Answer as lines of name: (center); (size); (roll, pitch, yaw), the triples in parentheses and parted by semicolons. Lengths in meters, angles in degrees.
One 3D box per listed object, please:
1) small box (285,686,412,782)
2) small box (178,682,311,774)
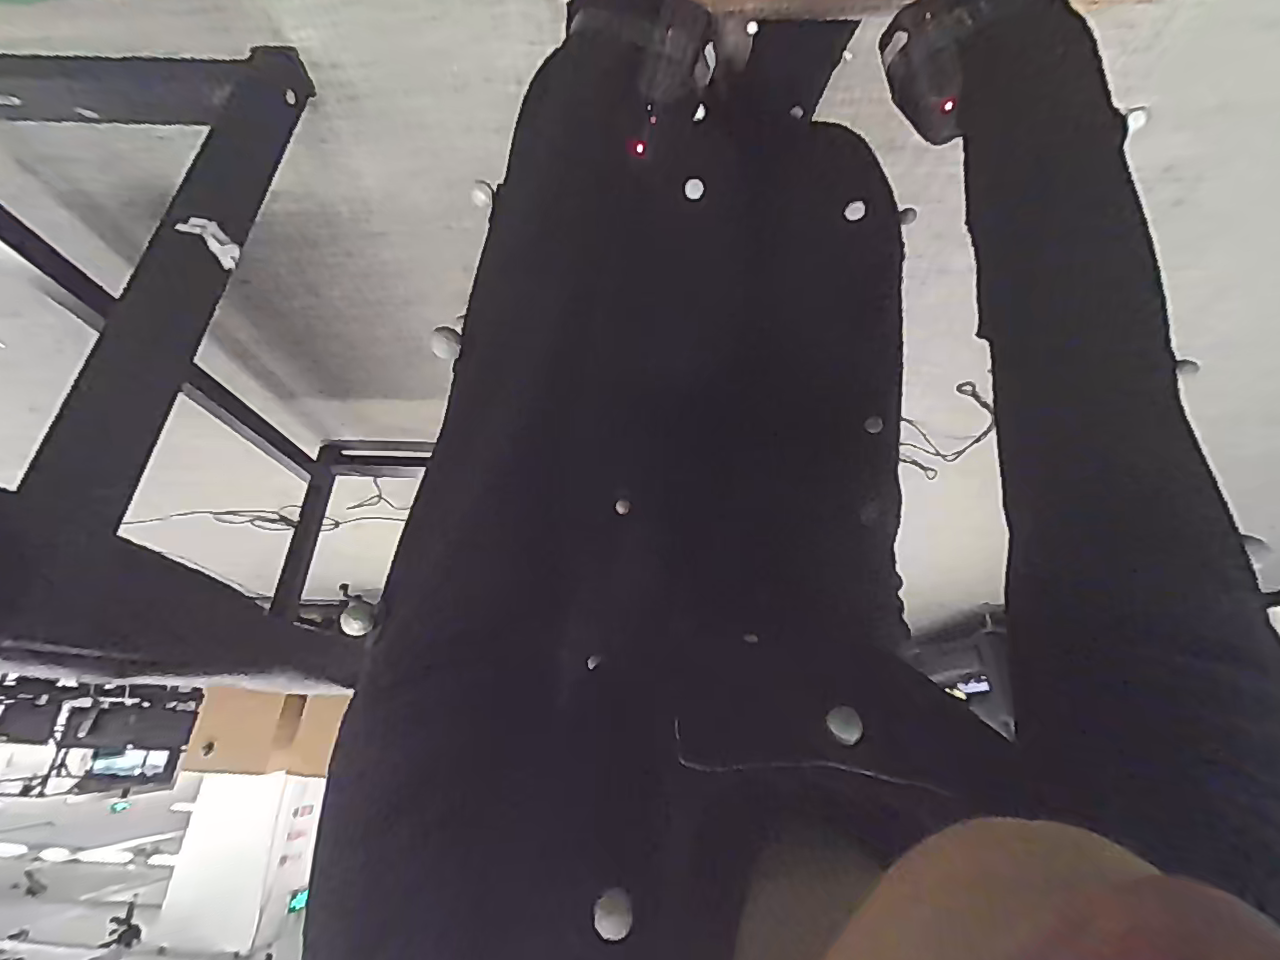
small box: (-0.612, 0.540, 1.165); (0.179, 0.176, 0.168); (4, 156, 1)
small box: (-0.828, 0.534, 1.173); (0.179, 0.176, 0.168); (2, 156, 1)
